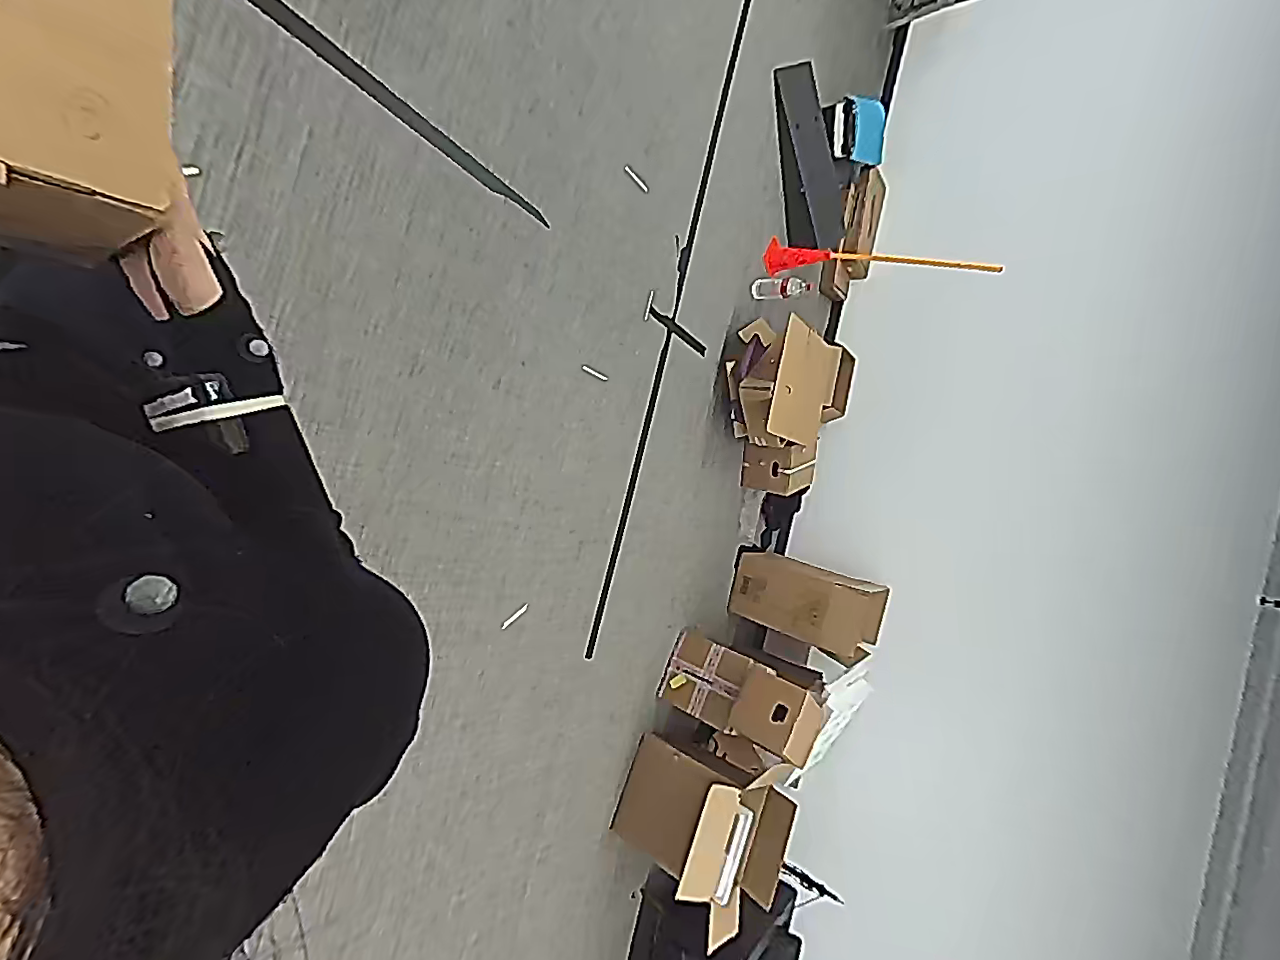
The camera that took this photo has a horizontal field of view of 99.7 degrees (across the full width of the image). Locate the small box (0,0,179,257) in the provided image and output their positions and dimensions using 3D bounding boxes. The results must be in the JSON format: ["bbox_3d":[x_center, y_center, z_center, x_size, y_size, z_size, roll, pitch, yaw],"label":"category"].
[{"bbox_3d":[-0.371,-0.235,0.281,0.168,0.176,0.179,-1,95,-56],"label":"small box"}]
